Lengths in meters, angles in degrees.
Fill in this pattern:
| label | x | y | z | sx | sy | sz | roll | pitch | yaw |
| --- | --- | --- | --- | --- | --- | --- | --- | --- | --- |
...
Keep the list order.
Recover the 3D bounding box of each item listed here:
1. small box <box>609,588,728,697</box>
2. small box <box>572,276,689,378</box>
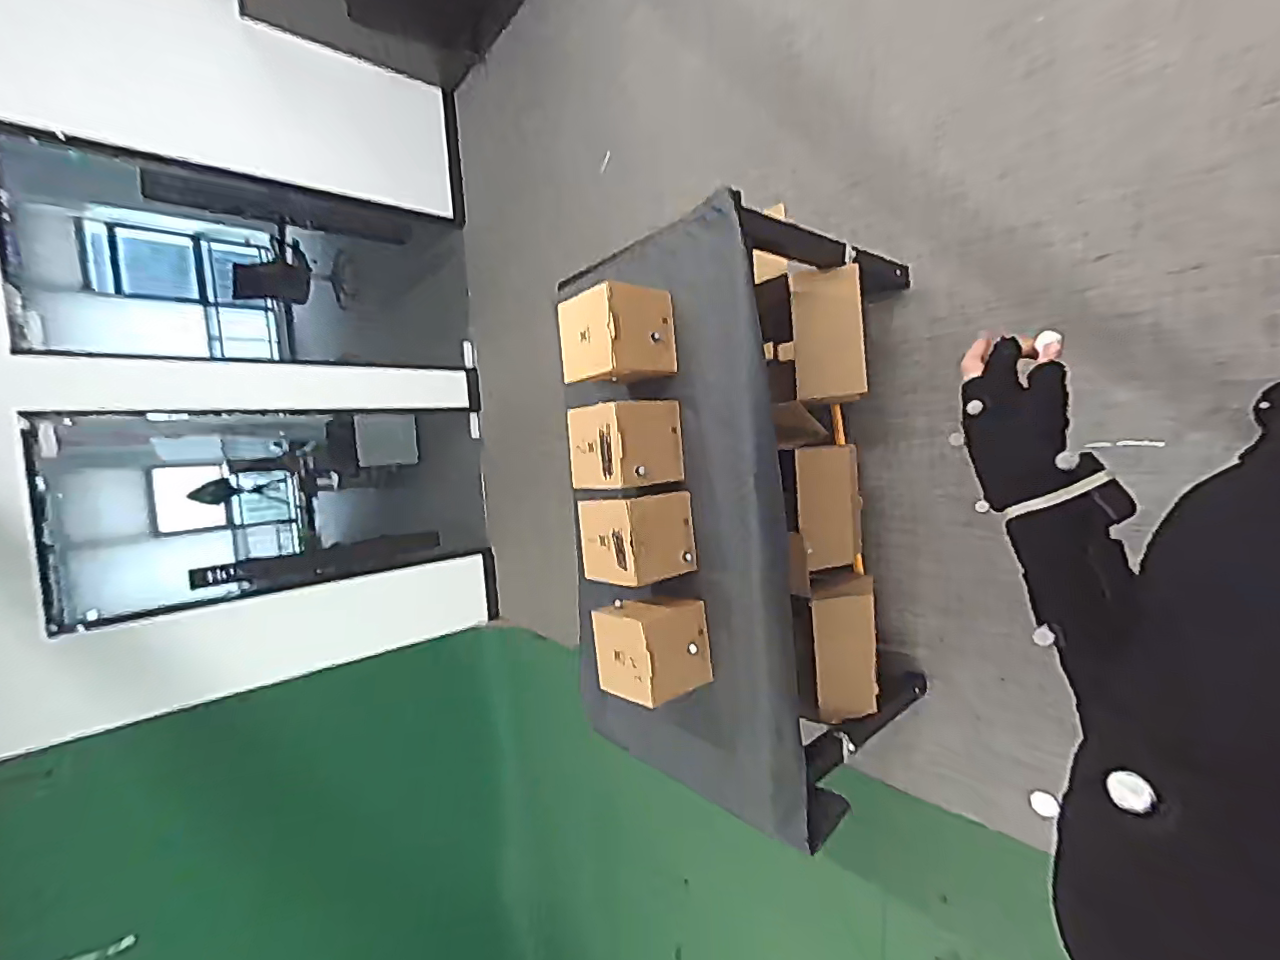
| label | x | y | z | sx | sy | sz | roll | pitch | yaw |
| --- | --- | --- | --- | --- | --- | --- | --- | --- | --- |
| small box | 0.059 | 0.329 | 1.135 | 0.179 | 0.176 | 0.168 | -7 | 91 | 51 |
| small box | -0.020 | -0.308 | 1.129 | 0.179 | 0.176 | 0.168 | -3 | 94 | 51 |
